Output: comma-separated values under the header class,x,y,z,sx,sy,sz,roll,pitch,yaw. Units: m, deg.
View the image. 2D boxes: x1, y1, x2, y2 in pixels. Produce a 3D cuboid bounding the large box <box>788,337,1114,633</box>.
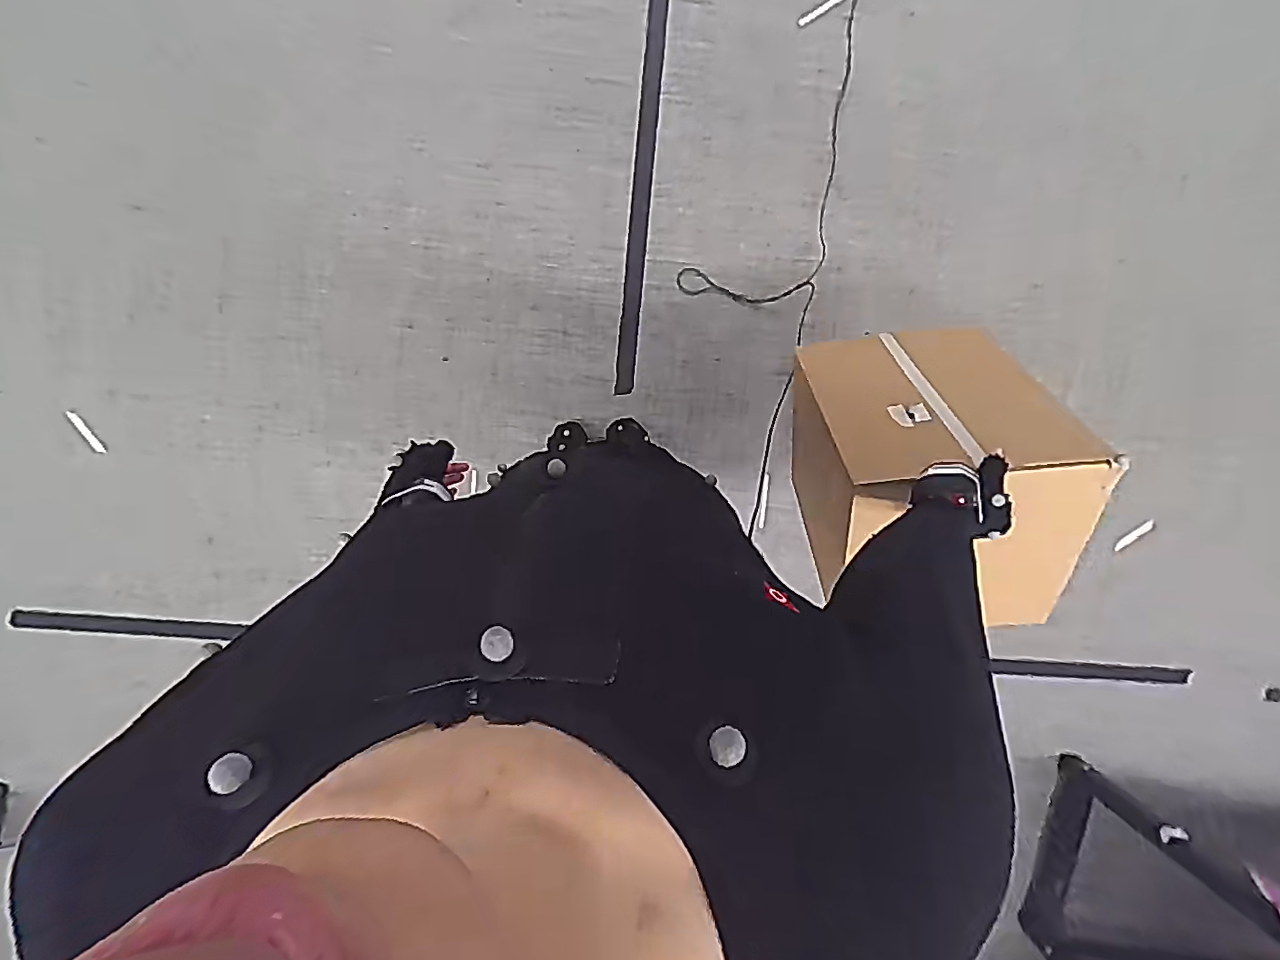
class,x,y,z,sx,sy,sz,roll,pitch,yaw
large box,0.451,-0.003,0.920,0.320,0.408,0.320,-6,129,6
